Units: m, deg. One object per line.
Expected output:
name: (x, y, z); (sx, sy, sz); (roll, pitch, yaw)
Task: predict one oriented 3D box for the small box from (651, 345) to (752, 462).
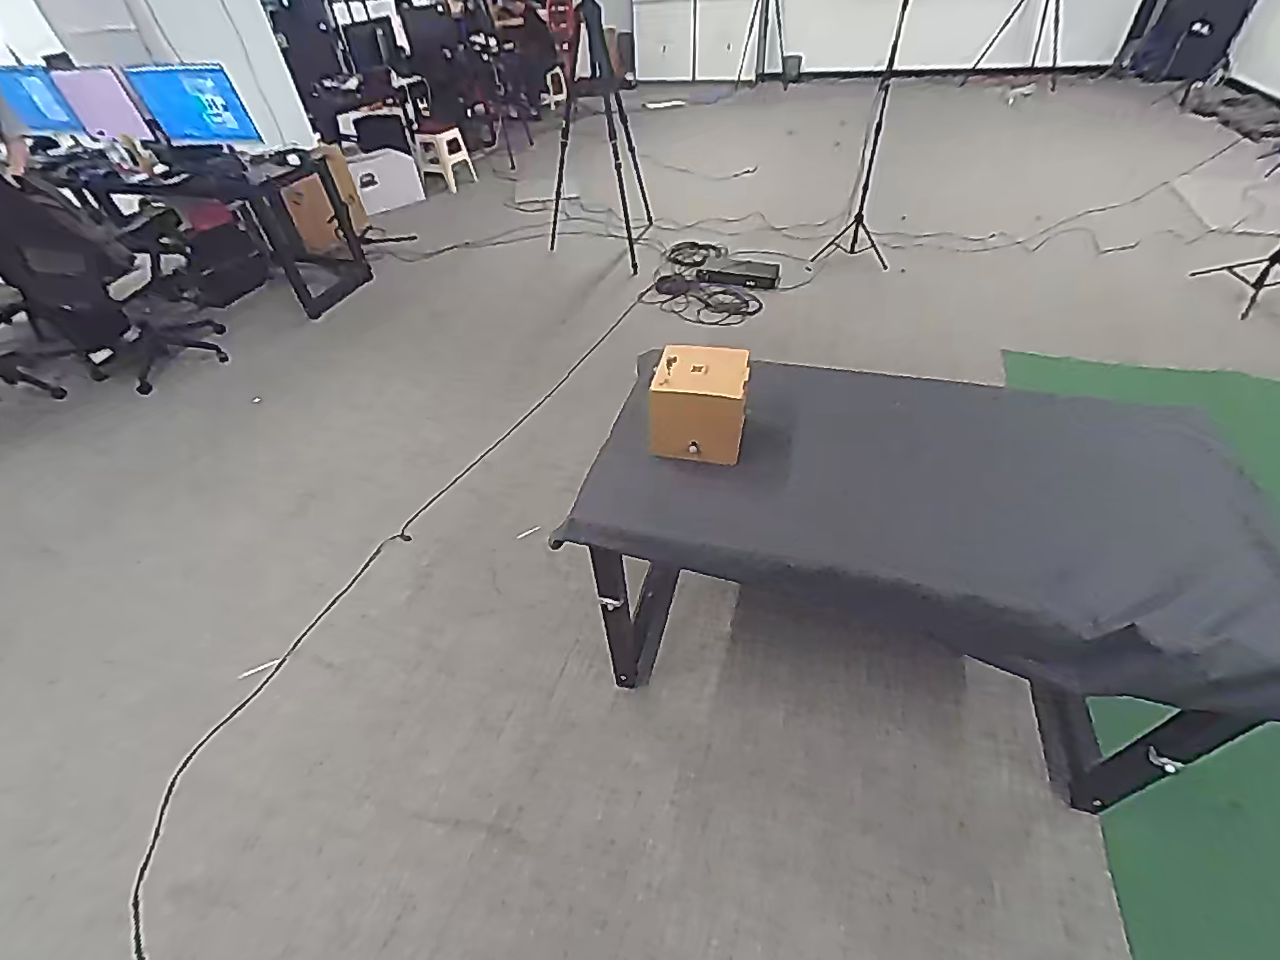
small box: (0.127, -0.154, 1.111); (0.179, 0.176, 0.168); (8, 46, 11)
